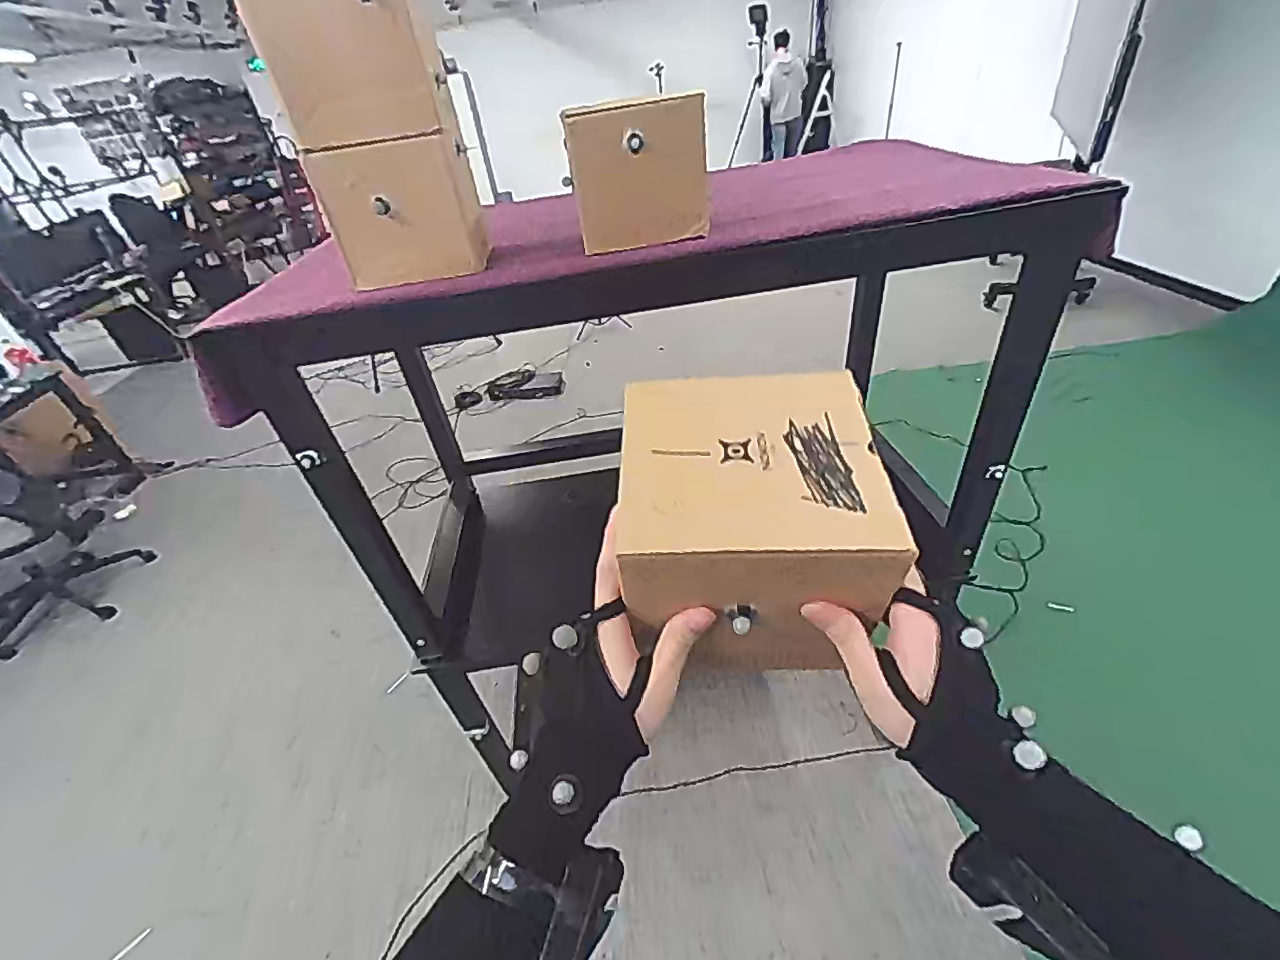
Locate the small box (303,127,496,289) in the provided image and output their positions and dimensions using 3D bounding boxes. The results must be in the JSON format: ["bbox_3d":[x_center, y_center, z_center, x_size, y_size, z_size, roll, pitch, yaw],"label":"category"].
[{"bbox_3d":[-0.317,-0.380,0.757,0.179,0.176,0.168,-11,36,-2],"label":"small box"}]

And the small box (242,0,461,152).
[{"bbox_3d":[-0.339,-0.512,0.663,0.179,0.176,0.168,-10,36,-3],"label":"small box"}]

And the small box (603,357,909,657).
[{"bbox_3d":[0.074,0.025,0.418,0.179,0.176,0.168,-2,48,5],"label":"small box"}]

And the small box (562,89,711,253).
[{"bbox_3d":[-0.005,-0.430,0.758,0.179,0.176,0.168,-10,36,-1],"label":"small box"}]
